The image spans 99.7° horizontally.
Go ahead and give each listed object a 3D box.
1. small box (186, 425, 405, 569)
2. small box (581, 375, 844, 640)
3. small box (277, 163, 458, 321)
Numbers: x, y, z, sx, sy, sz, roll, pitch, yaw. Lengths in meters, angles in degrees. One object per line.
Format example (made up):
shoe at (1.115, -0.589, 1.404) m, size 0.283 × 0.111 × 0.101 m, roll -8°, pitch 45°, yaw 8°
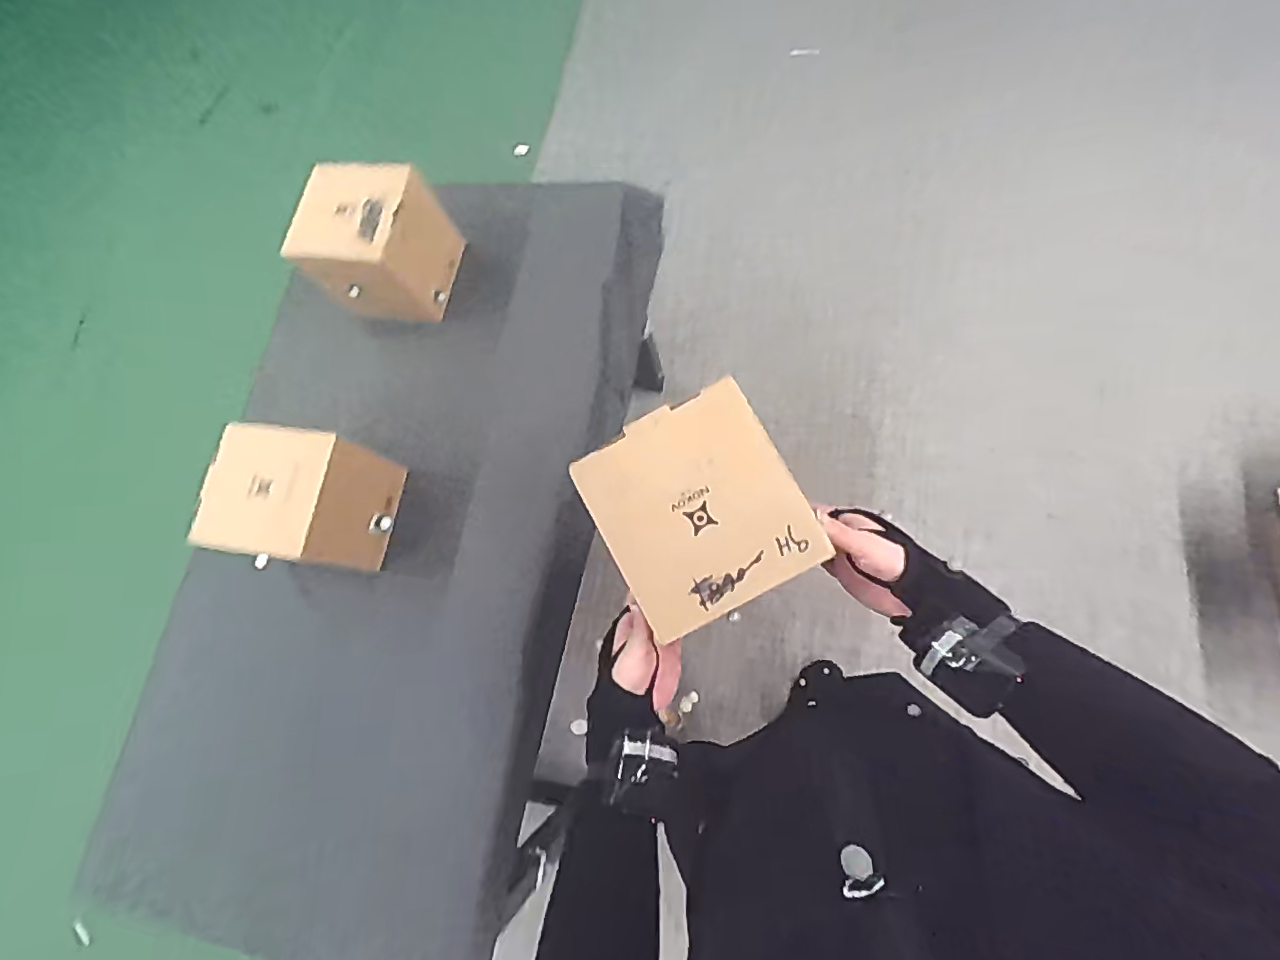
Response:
small box at (-0.475, 0.032, 0.771) m, size 0.179 × 0.176 × 0.168 m, roll 6°, pitch 77°, yaw 10°
small box at (0.067, 0.030, 0.531) m, size 0.168 × 0.176 × 0.179 m, roll -29°, pitch 81°, yaw 6°
small box at (-0.423, -0.374, 0.871) m, size 0.179 × 0.176 × 0.168 m, roll 8°, pitch 76°, yaw 12°
